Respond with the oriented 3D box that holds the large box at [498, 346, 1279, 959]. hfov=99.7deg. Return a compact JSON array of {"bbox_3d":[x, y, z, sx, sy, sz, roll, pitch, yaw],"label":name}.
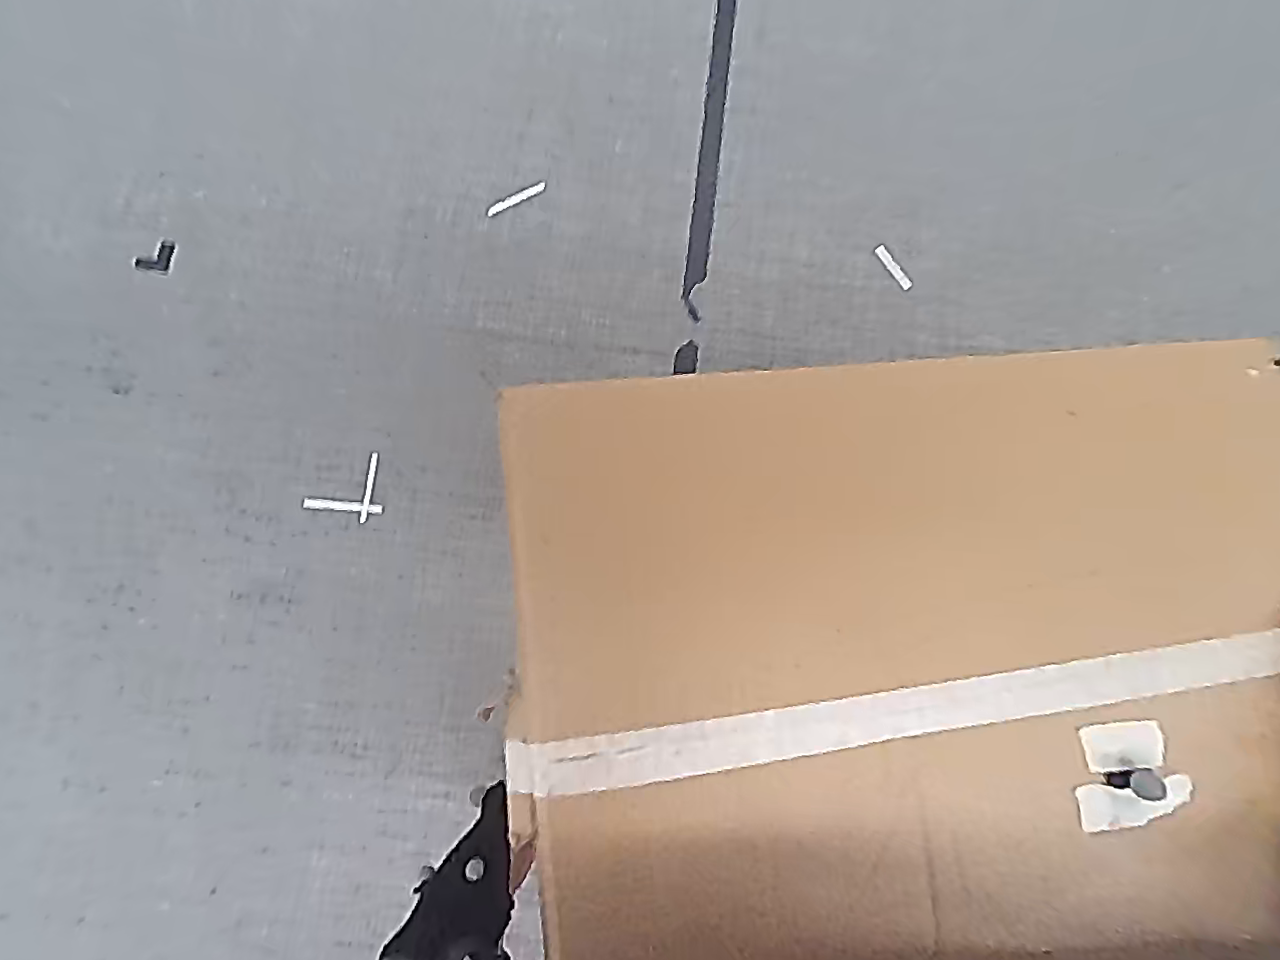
[{"bbox_3d":[0.128,0.112,0.401,0.408,0.320,0.320,-6,87,-9],"label":"large box"}]
